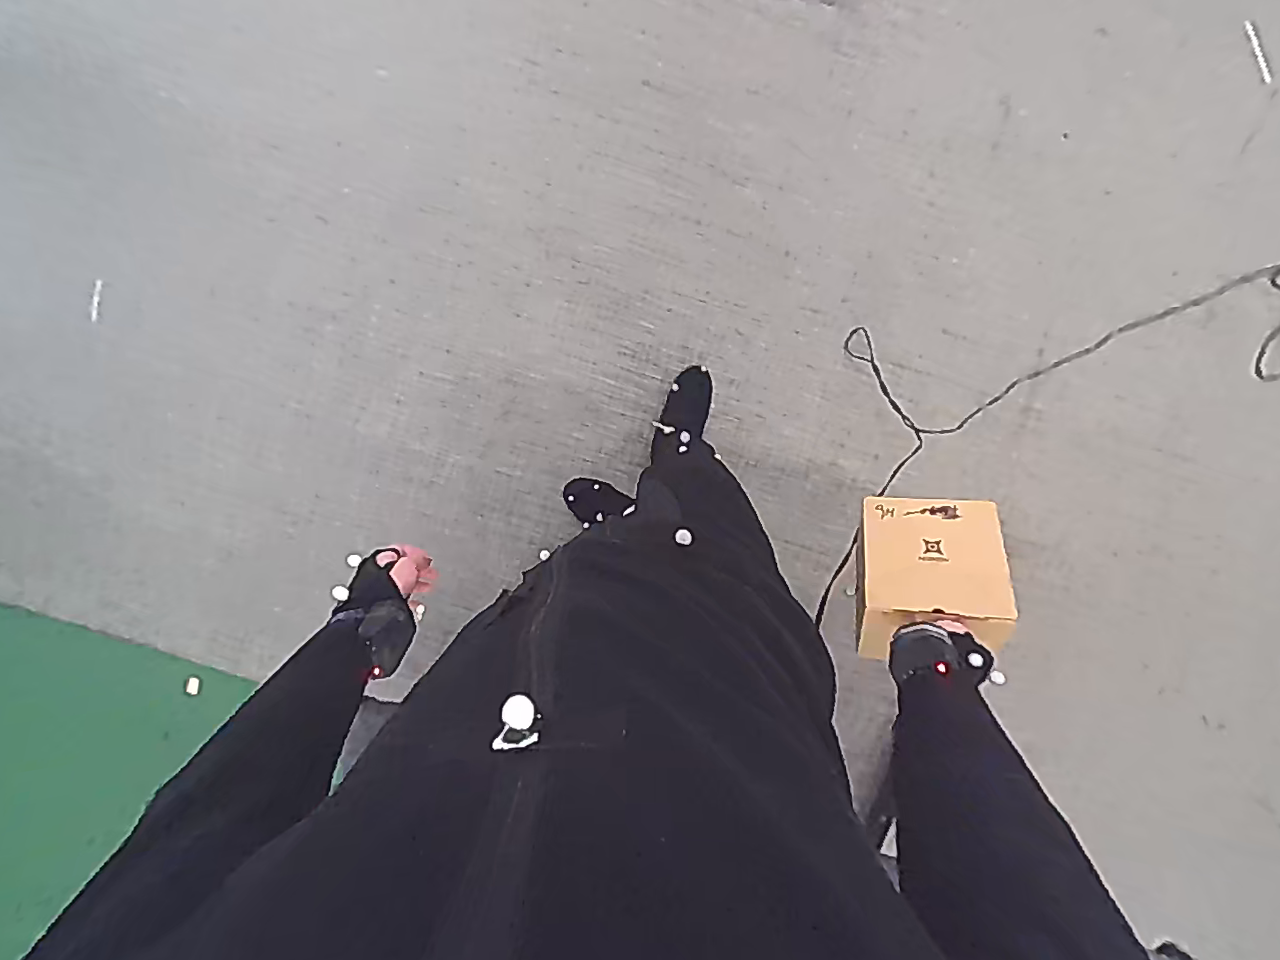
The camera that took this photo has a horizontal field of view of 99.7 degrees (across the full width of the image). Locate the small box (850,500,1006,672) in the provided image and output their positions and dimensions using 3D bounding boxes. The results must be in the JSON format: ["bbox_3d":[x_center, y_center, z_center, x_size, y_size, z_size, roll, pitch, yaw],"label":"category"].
[{"bbox_3d":[0.392,0.151,0.763,0.168,0.179,0.176,4,142,19],"label":"small box"}]
